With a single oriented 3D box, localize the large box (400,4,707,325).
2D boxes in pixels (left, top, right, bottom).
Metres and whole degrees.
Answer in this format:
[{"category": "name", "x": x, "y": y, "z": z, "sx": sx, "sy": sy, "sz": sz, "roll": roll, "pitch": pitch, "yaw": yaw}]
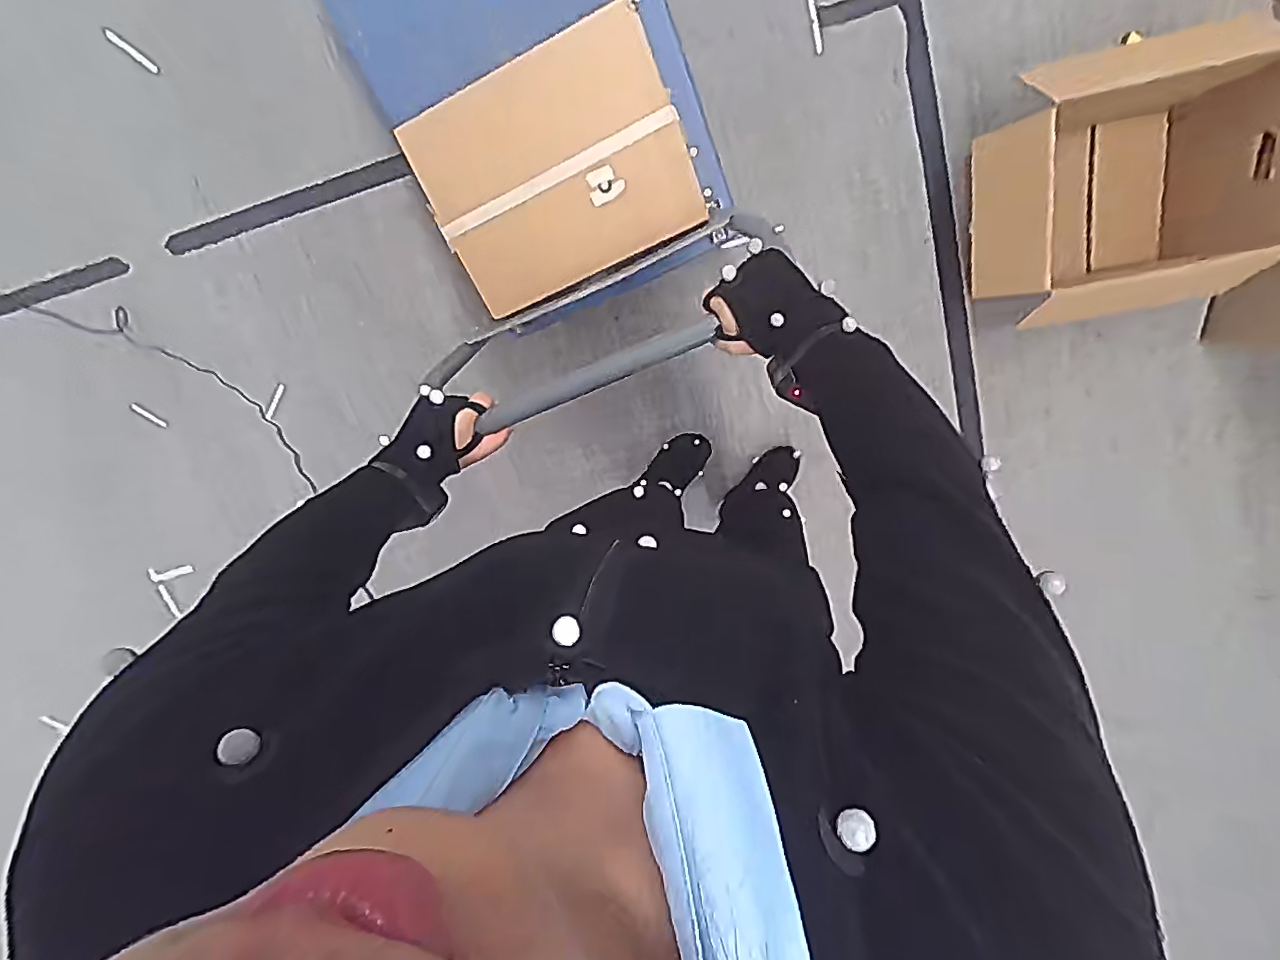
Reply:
[{"category": "large box", "x": -0.130, "y": -0.528, "z": 0.985, "sx": 0.408, "sy": 0.320, "sz": 0.320, "roll": -22, "pitch": 113, "yaw": 11}]
